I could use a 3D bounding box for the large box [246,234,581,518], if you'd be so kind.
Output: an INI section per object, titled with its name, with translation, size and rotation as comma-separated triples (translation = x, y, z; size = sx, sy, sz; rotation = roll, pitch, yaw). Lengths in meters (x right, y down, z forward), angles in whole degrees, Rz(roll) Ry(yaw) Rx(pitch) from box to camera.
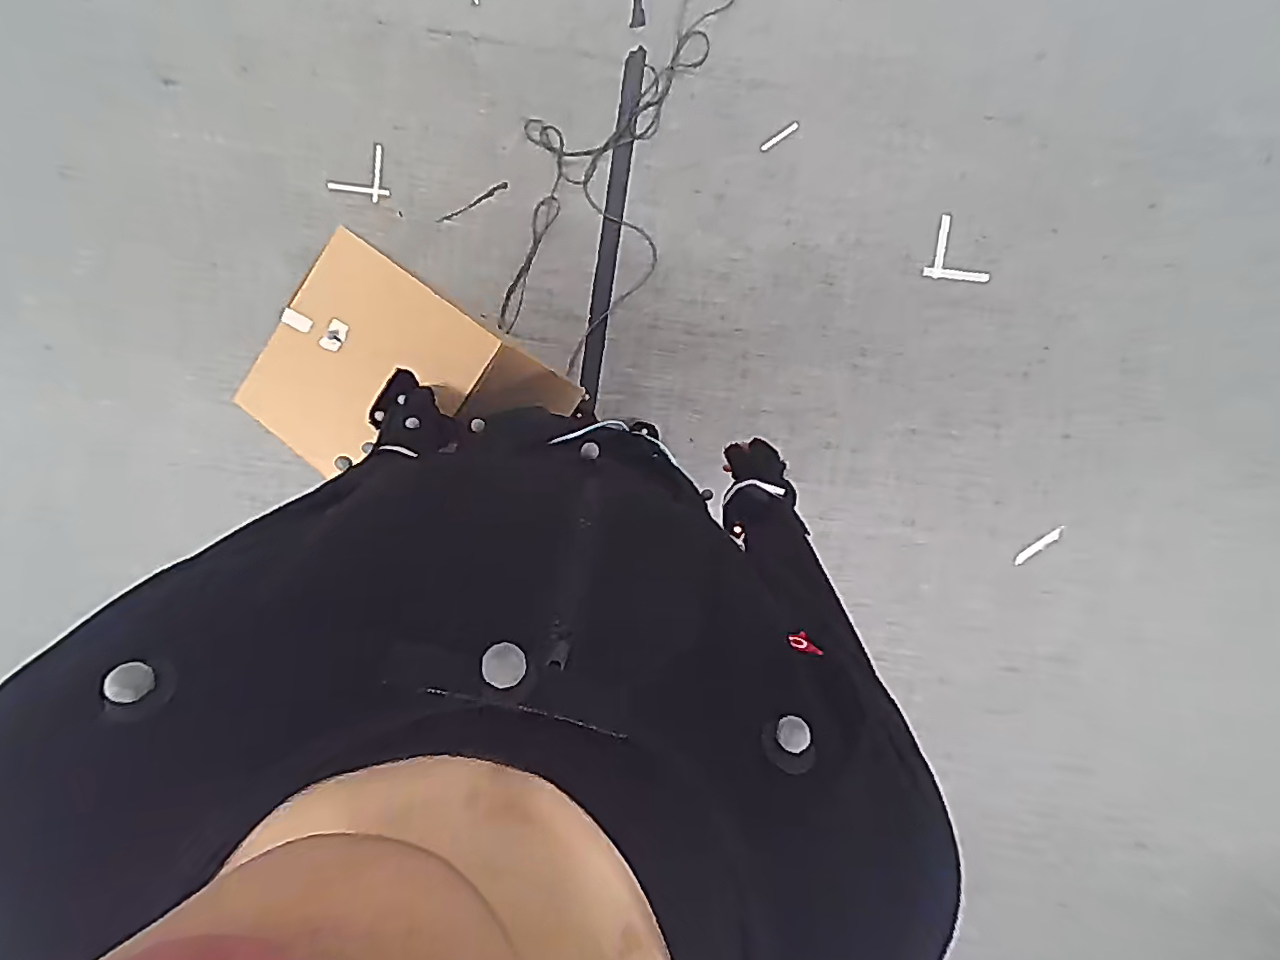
[large box]
translation = -0.365, -0.160, 0.971
size = 0.320, 0.408, 0.320
rotation = 38, 97, 7
